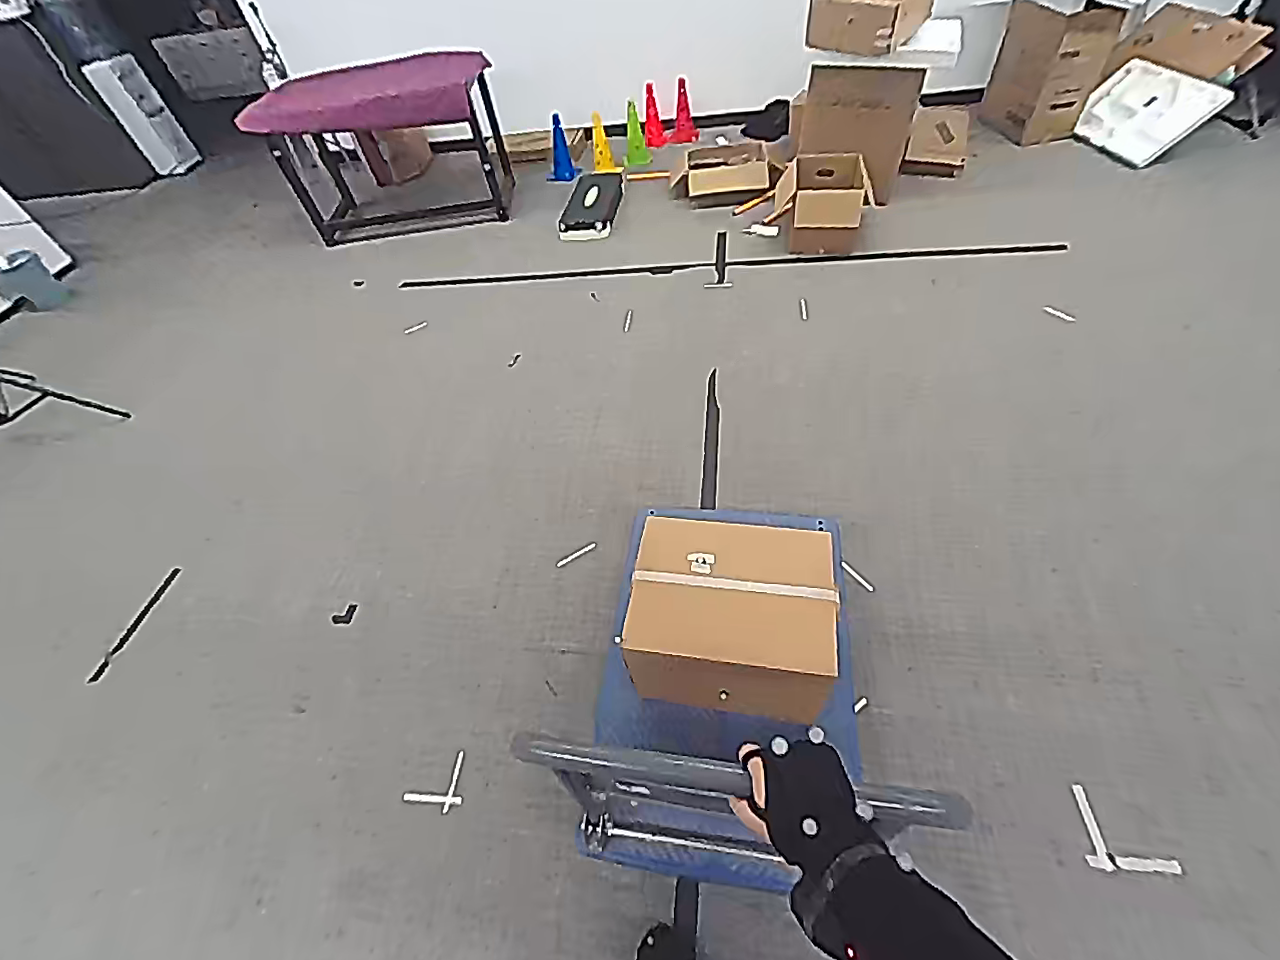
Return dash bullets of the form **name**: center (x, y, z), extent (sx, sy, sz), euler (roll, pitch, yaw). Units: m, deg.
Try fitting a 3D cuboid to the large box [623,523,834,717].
- **large box**: center (0.204, 0.318, 1.227), extent (0.408, 0.320, 0.320), euler (3, 51, 12)
